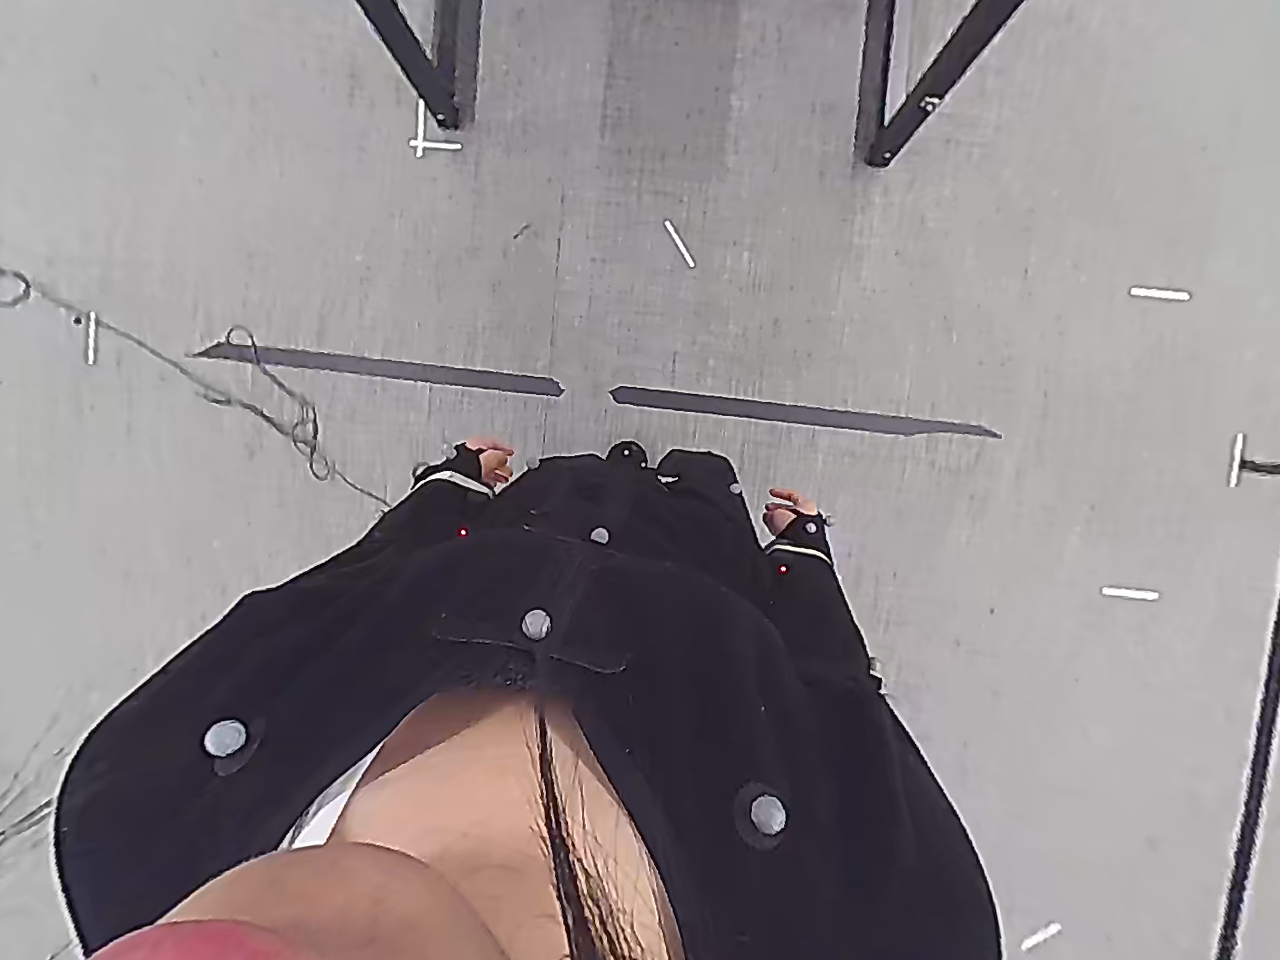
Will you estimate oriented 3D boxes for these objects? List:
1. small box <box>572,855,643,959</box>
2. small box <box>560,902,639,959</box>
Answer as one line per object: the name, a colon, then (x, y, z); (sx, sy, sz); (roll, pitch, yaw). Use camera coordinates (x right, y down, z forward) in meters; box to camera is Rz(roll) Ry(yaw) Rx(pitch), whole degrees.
small box: (-0.084, 1.149, 1.455); (0.168, 0.176, 0.179); (-8, 93, 1)
small box: (-0.092, 1.165, 1.291); (0.168, 0.176, 0.179); (-8, 93, -1)
